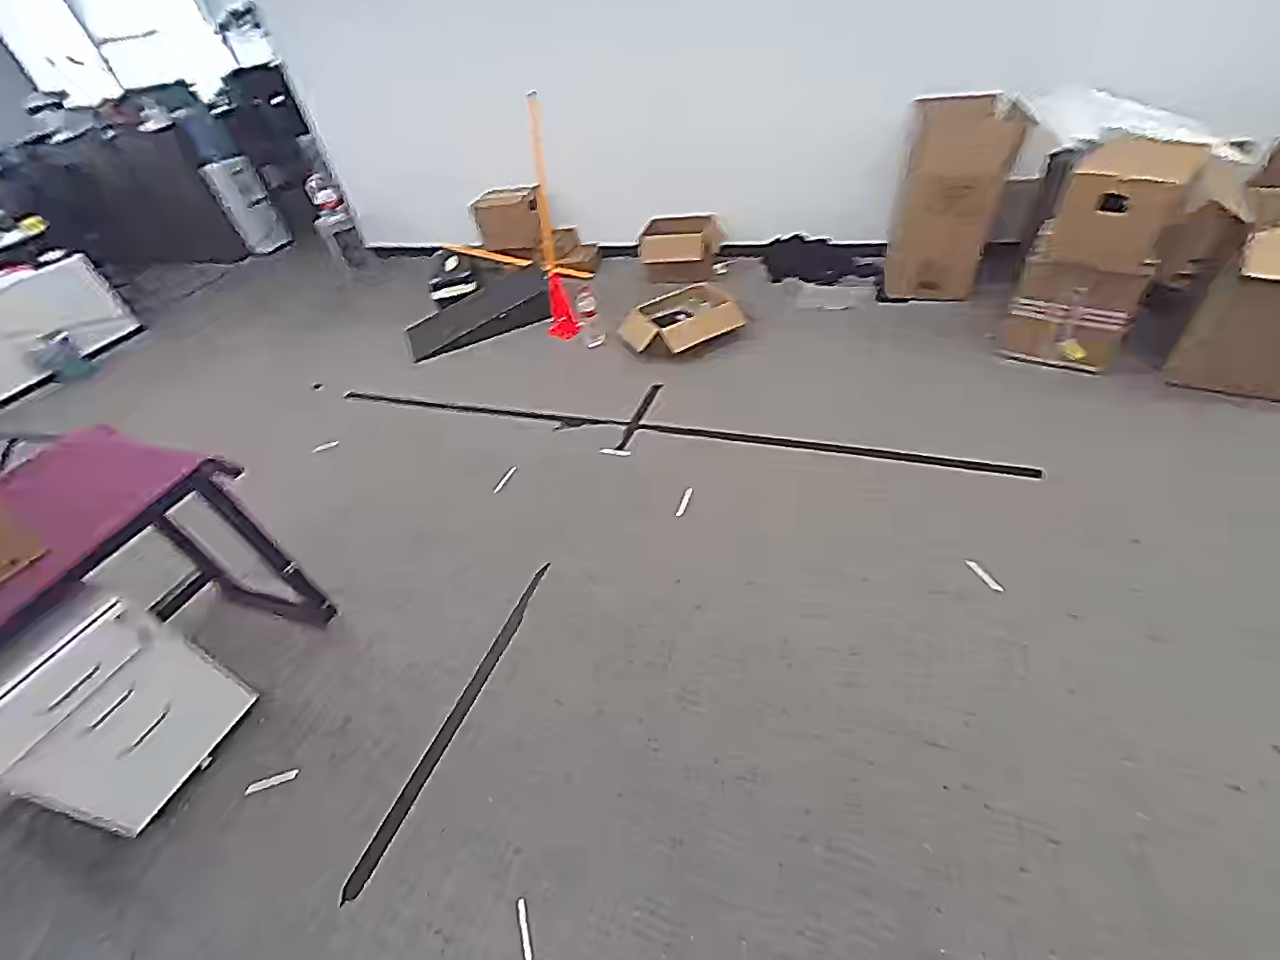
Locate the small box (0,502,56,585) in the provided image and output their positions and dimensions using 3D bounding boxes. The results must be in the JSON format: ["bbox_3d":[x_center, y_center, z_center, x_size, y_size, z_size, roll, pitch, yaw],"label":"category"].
[{"bbox_3d":[-1.473,0.133,1.186,0.179,0.176,0.168,11,48,23],"label":"small box"}]
